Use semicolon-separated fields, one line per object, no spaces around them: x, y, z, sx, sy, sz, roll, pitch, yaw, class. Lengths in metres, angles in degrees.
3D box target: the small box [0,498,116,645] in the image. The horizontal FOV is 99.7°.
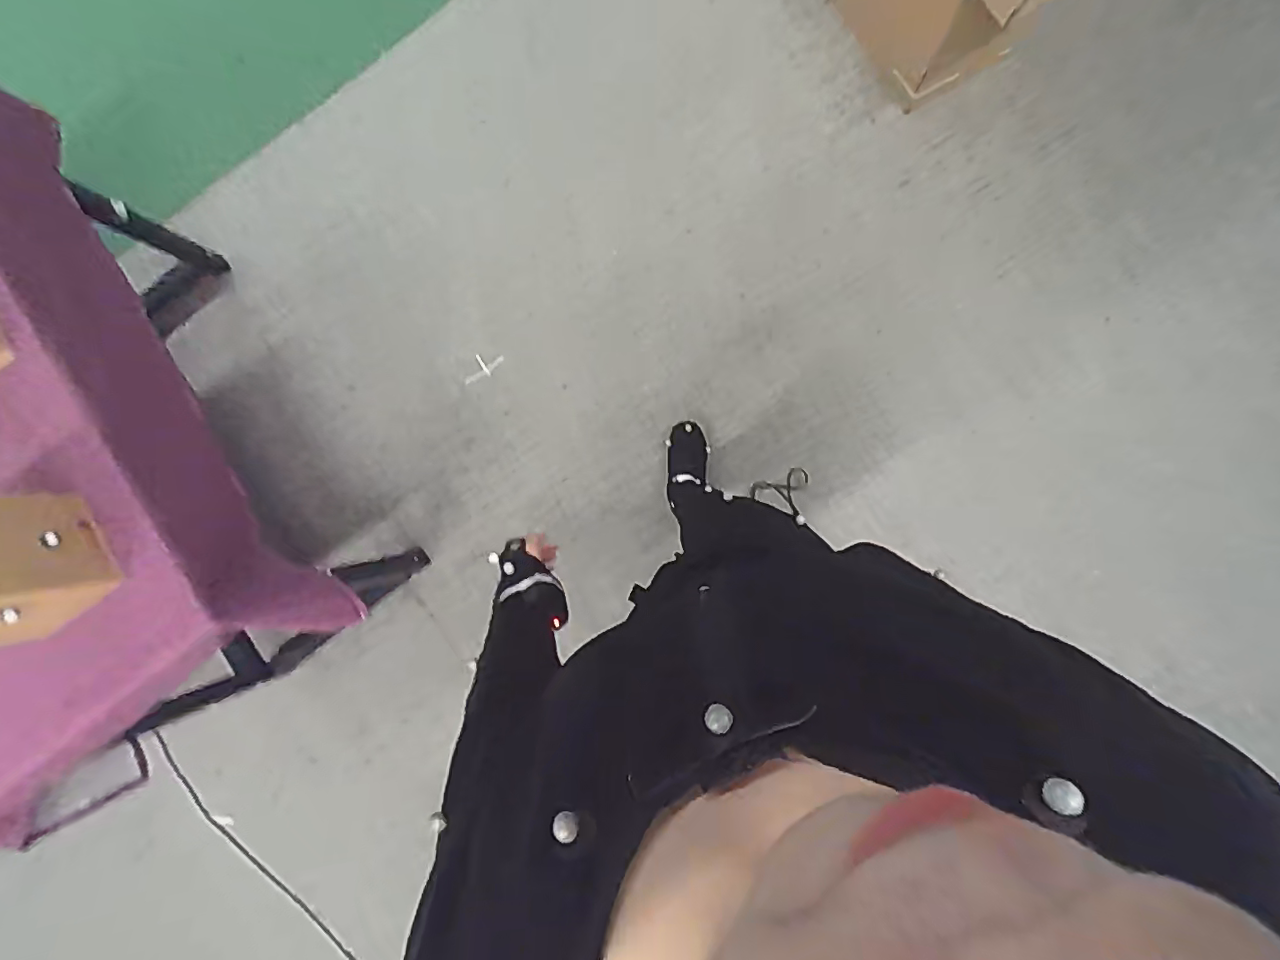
-0.936;0.135;0.795;0.179;0.176;0.168;-34;84;5;small box
